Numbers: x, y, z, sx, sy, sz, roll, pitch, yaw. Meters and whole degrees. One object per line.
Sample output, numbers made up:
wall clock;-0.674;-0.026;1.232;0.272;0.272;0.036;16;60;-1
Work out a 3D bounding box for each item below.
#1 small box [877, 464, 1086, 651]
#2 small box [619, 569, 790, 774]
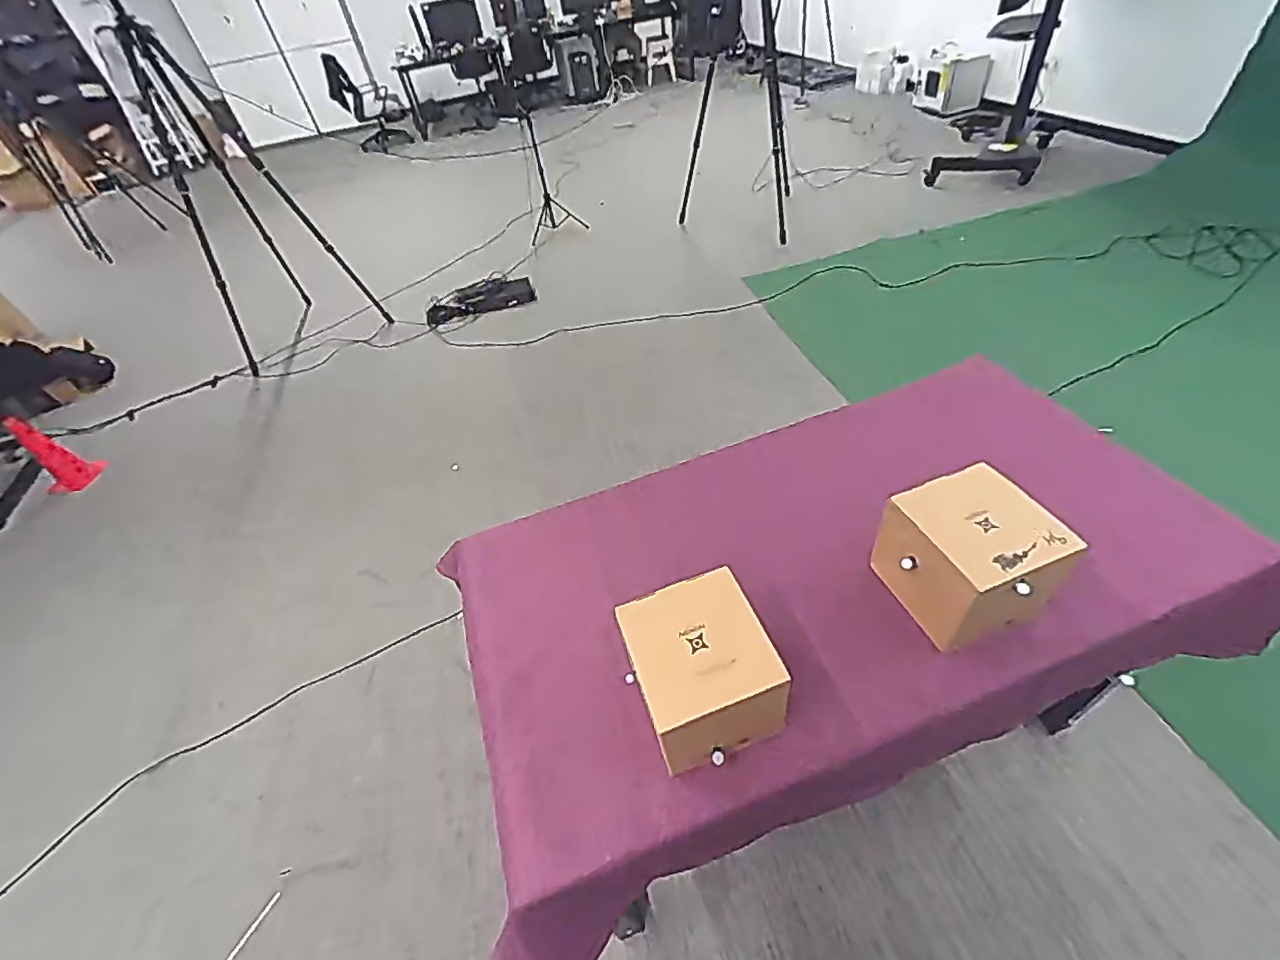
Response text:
small box;0.472;0.112;0.784;0.168;0.176;0.179;-20;45;-7
small box;0.082;0.256;0.723;0.168;0.176;0.179;-19;47;-7
